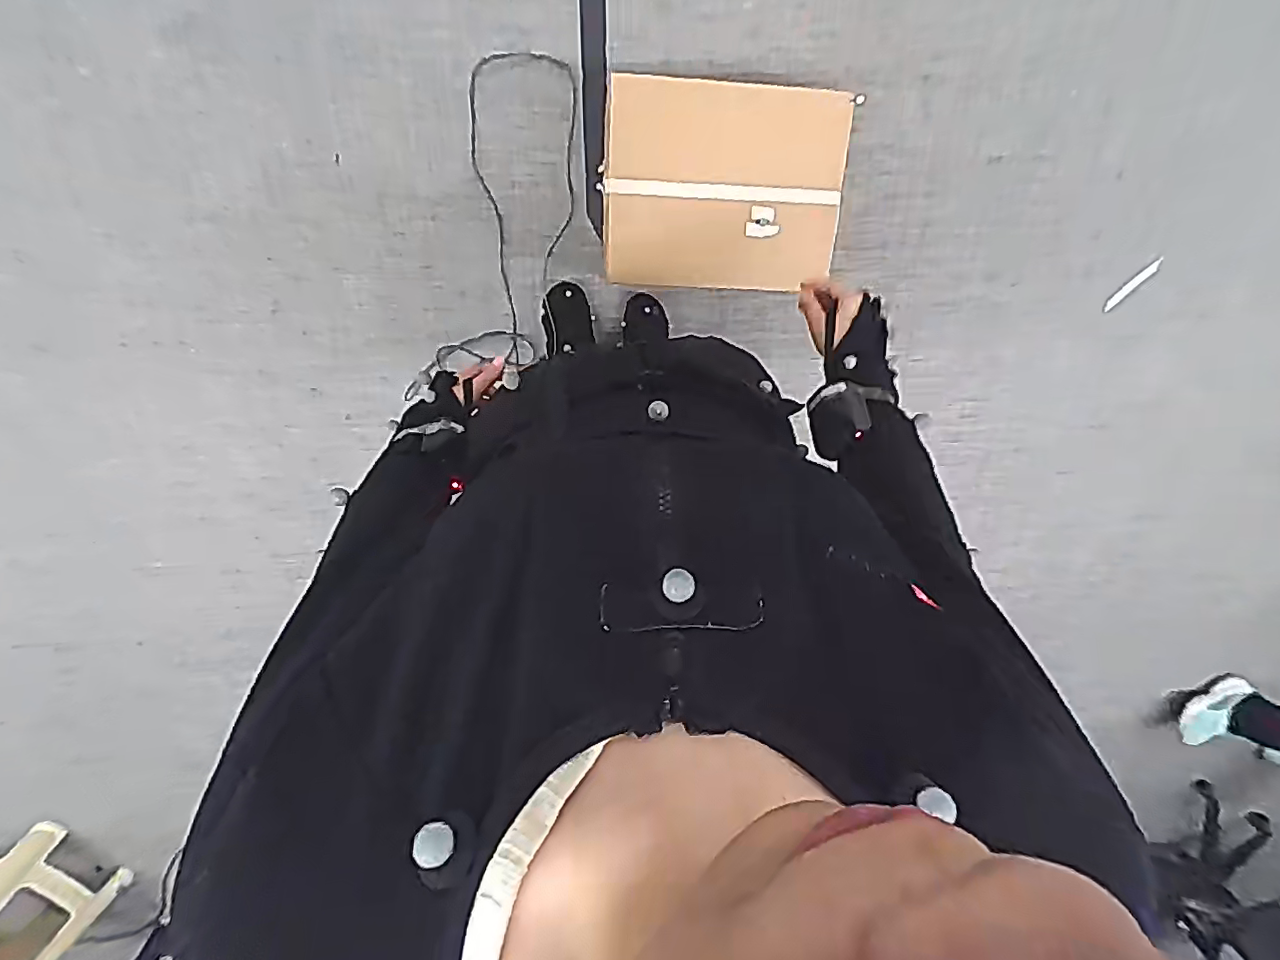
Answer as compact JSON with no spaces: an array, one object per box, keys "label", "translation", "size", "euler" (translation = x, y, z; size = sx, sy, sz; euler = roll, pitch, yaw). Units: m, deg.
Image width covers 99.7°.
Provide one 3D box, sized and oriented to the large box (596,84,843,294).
[{"label":"large box","translation":[0.120,-0.540,1.067],"size":[0.408,0.320,0.320],"euler":[0,113,-7]}]
